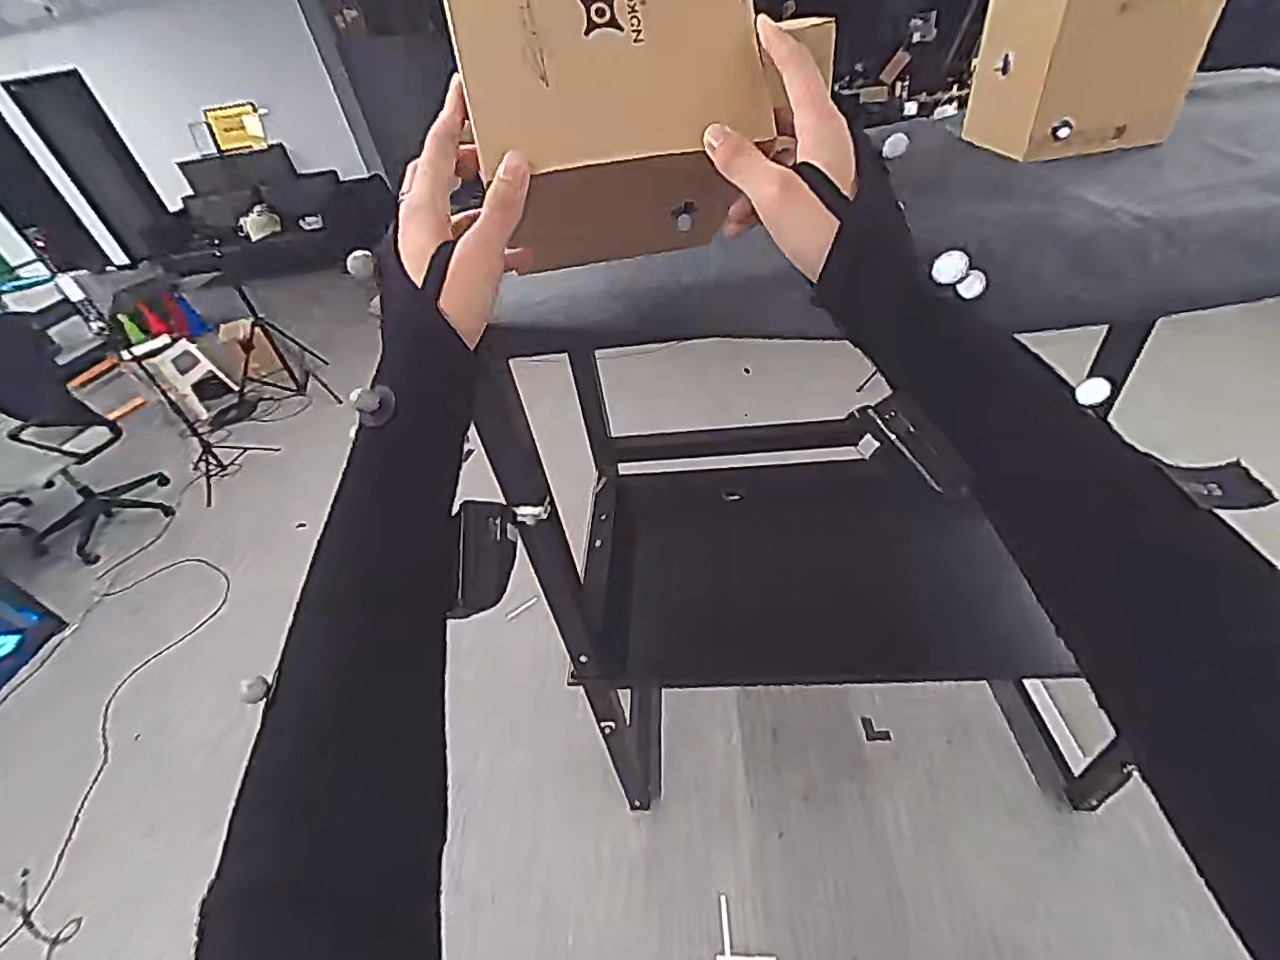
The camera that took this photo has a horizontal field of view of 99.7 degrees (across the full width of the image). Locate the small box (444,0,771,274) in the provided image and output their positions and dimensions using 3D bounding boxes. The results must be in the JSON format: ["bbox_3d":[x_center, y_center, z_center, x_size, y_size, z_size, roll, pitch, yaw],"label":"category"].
[{"bbox_3d":[-0.031,-0.266,0.386,0.179,0.168,0.176,-12,3,-7],"label":"small box"}]

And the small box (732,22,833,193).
[{"bbox_3d":[0.151,-0.507,0.741,0.168,0.176,0.179,-6,41,5],"label":"small box"}]

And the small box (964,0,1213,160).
[{"bbox_3d":[0.536,-0.509,0.666,0.168,0.176,0.179,-6,40,5],"label":"small box"}]
